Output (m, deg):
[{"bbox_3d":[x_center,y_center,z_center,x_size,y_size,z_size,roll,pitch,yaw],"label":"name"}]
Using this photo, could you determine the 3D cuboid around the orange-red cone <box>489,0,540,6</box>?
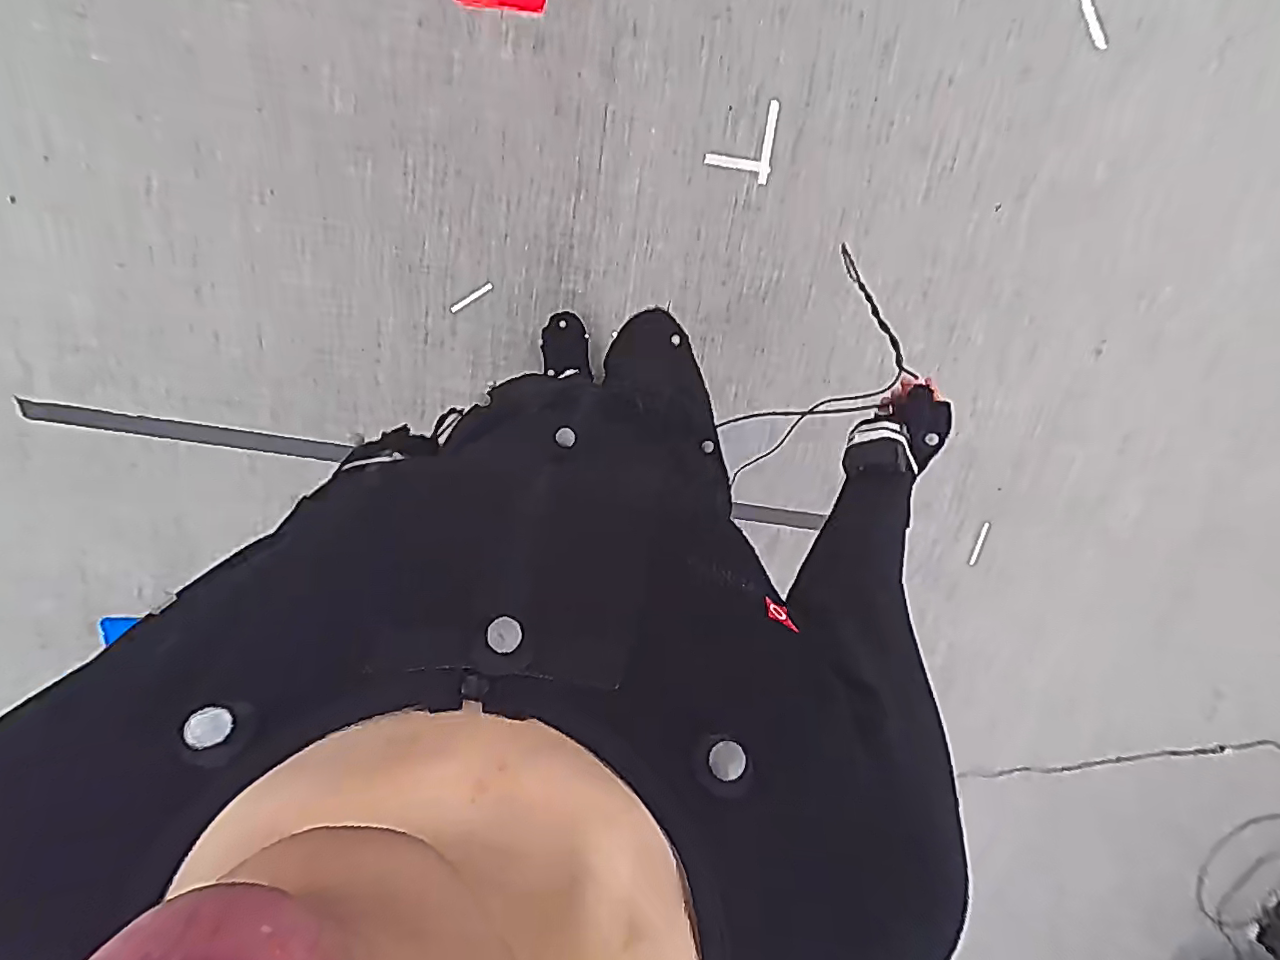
[{"bbox_3d":[-0.286,-1.049,0.945,0.199,0.360,0.198,4,107,-4],"label":"orange-red cone"}]

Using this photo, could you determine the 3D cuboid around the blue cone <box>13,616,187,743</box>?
[{"bbox_3d":[-1.377,0.520,1.370,0.193,0.380,0.192,3,107,-5],"label":"blue cone"}]
